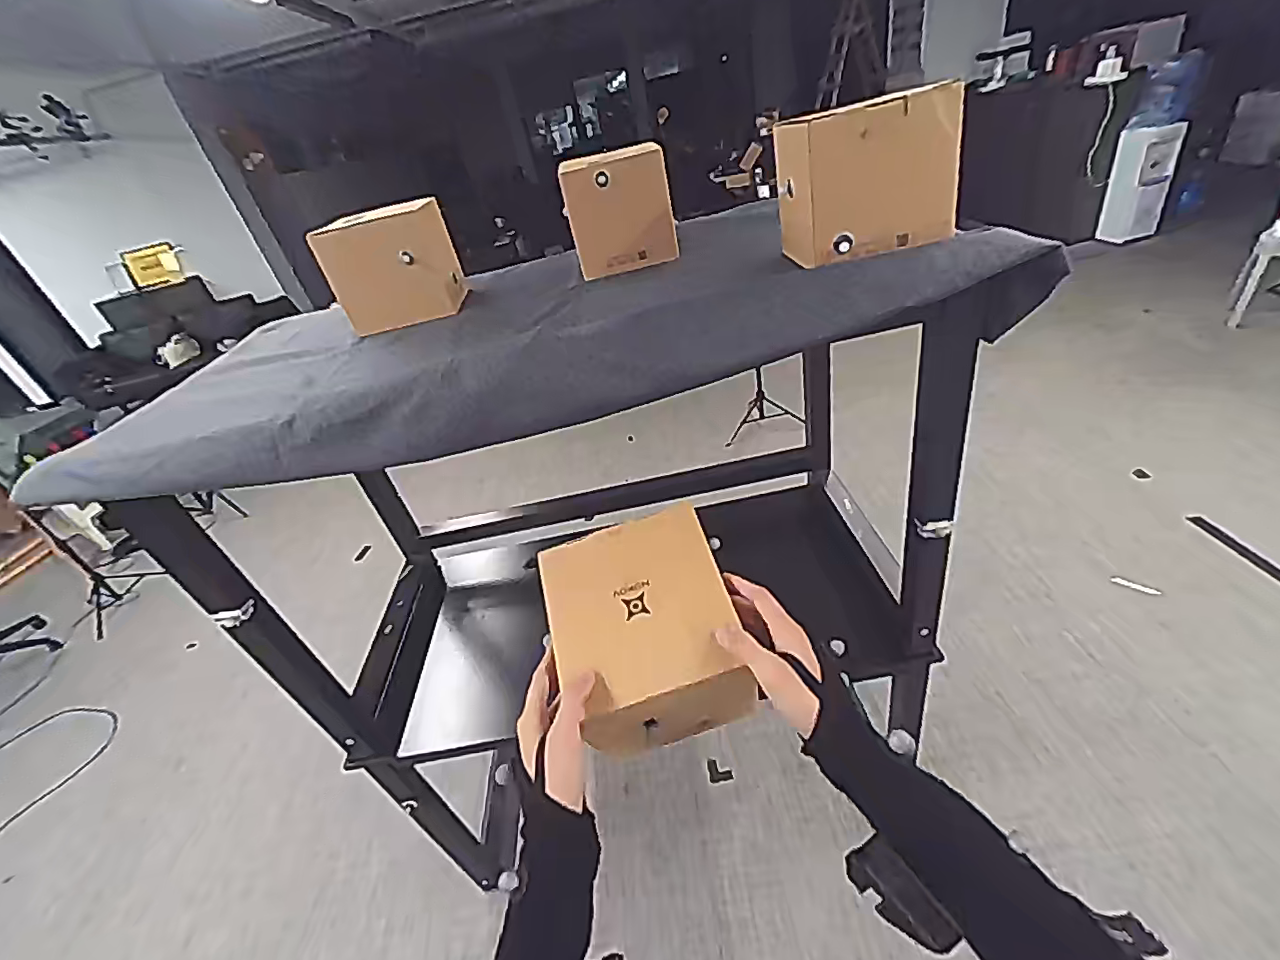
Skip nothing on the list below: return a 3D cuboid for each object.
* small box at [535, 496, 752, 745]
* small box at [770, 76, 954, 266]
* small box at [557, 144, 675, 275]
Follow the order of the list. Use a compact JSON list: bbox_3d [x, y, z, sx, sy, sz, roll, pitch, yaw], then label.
[{"bbox_3d":[0.008,0.152,0.553,0.168,0.176,0.179,-19,50,-1],"label":"small box"},{"bbox_3d":[0.273,-0.384,0.691,0.168,0.176,0.179,-11,30,6],"label":"small box"},{"bbox_3d":[-0.039,-0.471,0.944,0.168,0.176,0.179,-13,33,3],"label":"small box"}]
